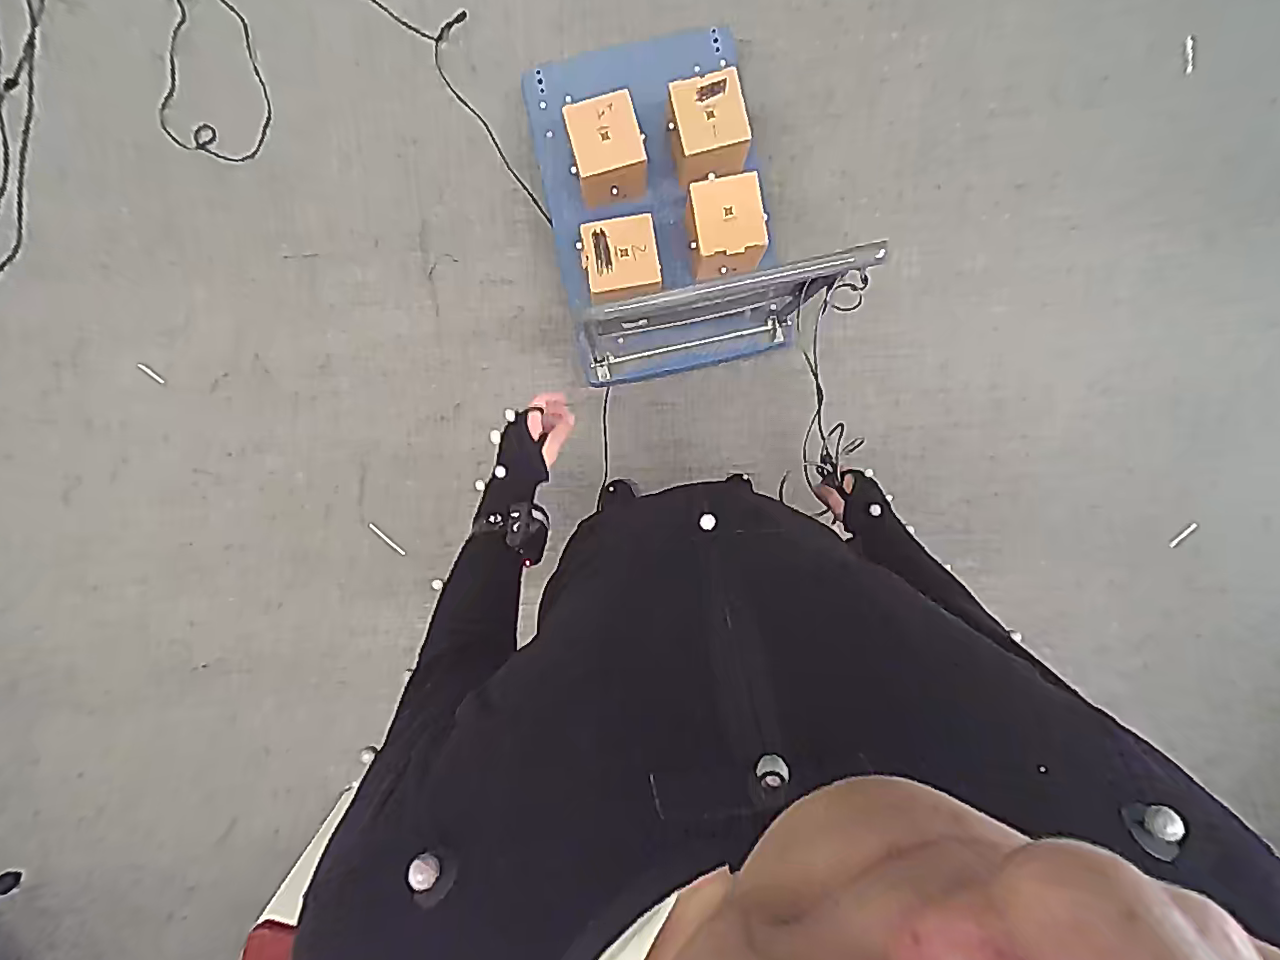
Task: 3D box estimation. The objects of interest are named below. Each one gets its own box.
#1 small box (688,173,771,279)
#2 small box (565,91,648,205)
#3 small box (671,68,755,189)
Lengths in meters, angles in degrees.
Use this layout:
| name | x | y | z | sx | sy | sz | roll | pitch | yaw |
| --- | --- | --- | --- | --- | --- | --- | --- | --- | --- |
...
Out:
| name | x | y | z | sx | sy | sz | roll | pitch | yaw |
| --- | --- | --- | --- | --- | --- | --- | --- | --- | --- |
| small box | 0.219 | -0.632 | 1.360 | 0.168 | 0.176 | 0.179 | -10 | 92 | 1 |
| small box | -0.077 | -0.820 | 1.359 | 0.168 | 0.176 | 0.179 | -15 | 91 | 1 |
| small box | 0.175 | -0.869 | 1.352 | 0.168 | 0.176 | 0.179 | -13 | 92 | 2 |
